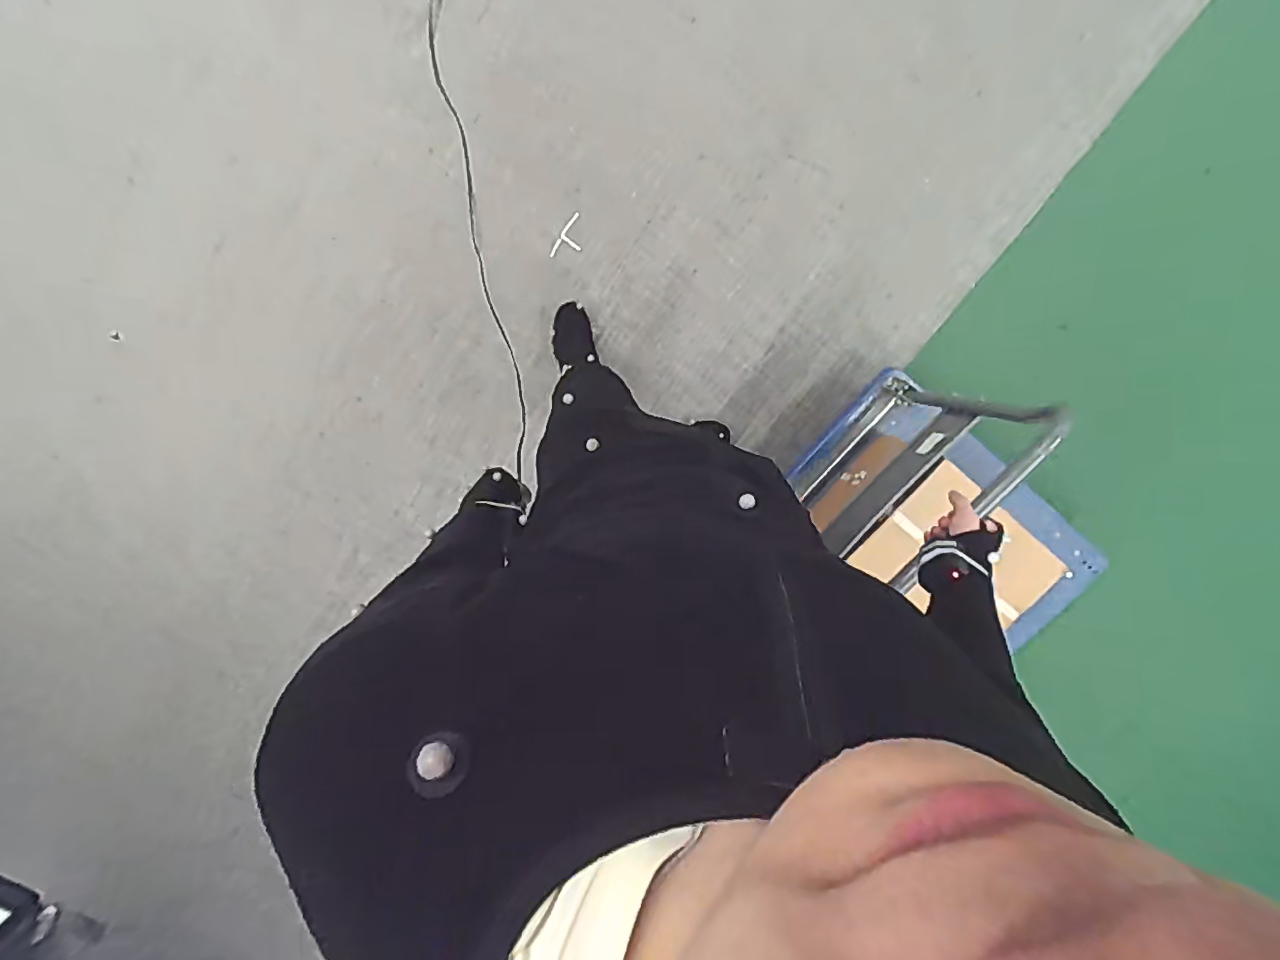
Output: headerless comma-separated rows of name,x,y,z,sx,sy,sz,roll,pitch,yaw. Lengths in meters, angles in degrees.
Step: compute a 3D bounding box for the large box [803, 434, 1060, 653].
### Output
large box,0.691,0.139,1.348,0.408,0.320,0.320,38,102,-9
